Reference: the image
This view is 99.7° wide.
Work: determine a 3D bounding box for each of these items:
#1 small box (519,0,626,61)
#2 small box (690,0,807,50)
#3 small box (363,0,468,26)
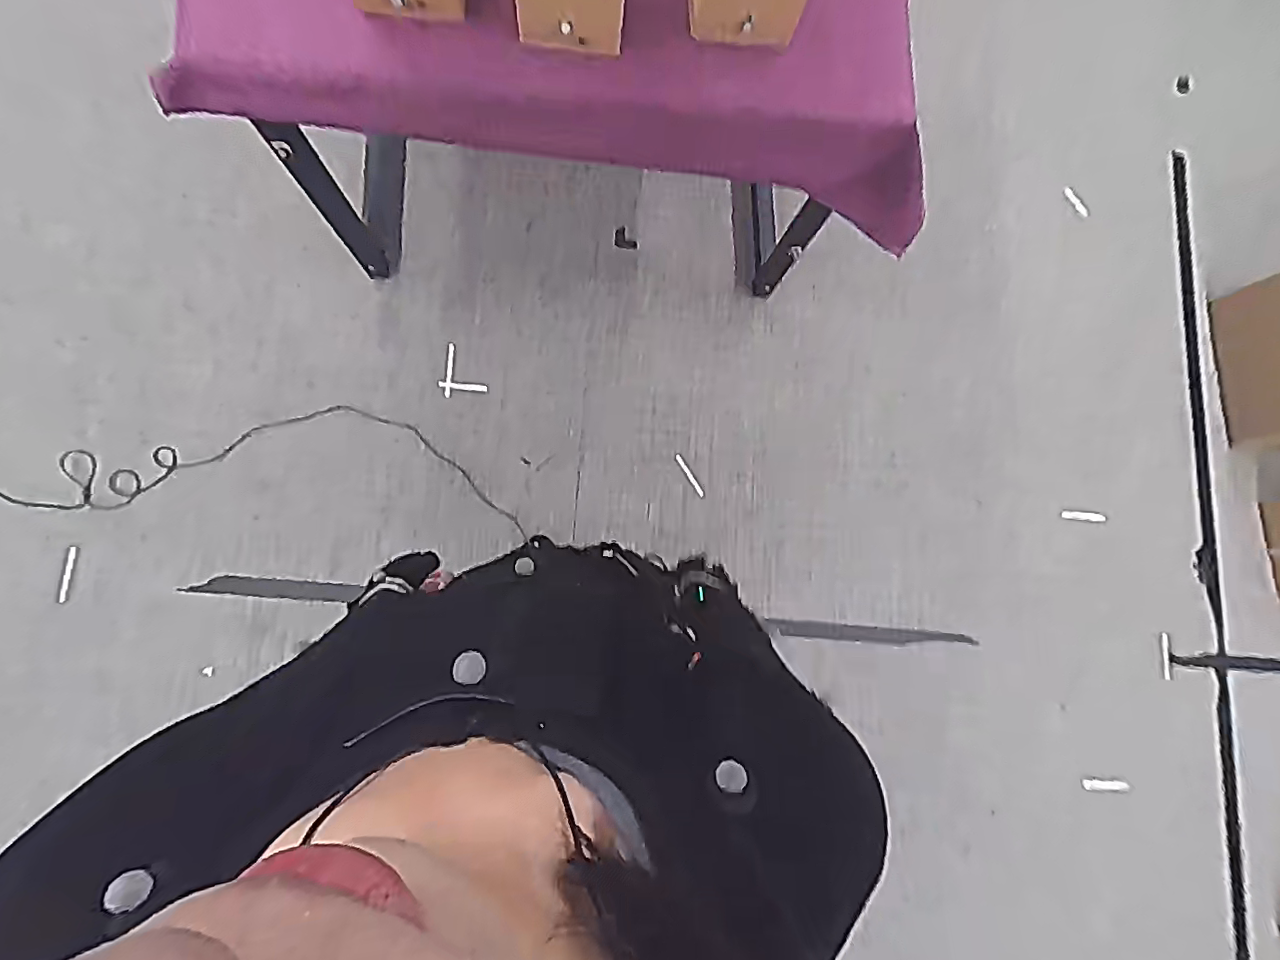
[{"bbox_3d":[-0.101,-0.806,0.835,0.168,0.176,0.179,3,83,-6],"label":"small box"},{"bbox_3d":[0.183,-0.844,0.874,0.179,0.176,0.168,-1,82,-7],"label":"small box"},{"bbox_3d":[-0.356,-0.841,0.811,0.168,0.176,0.179,0,83,-5],"label":"small box"}]
